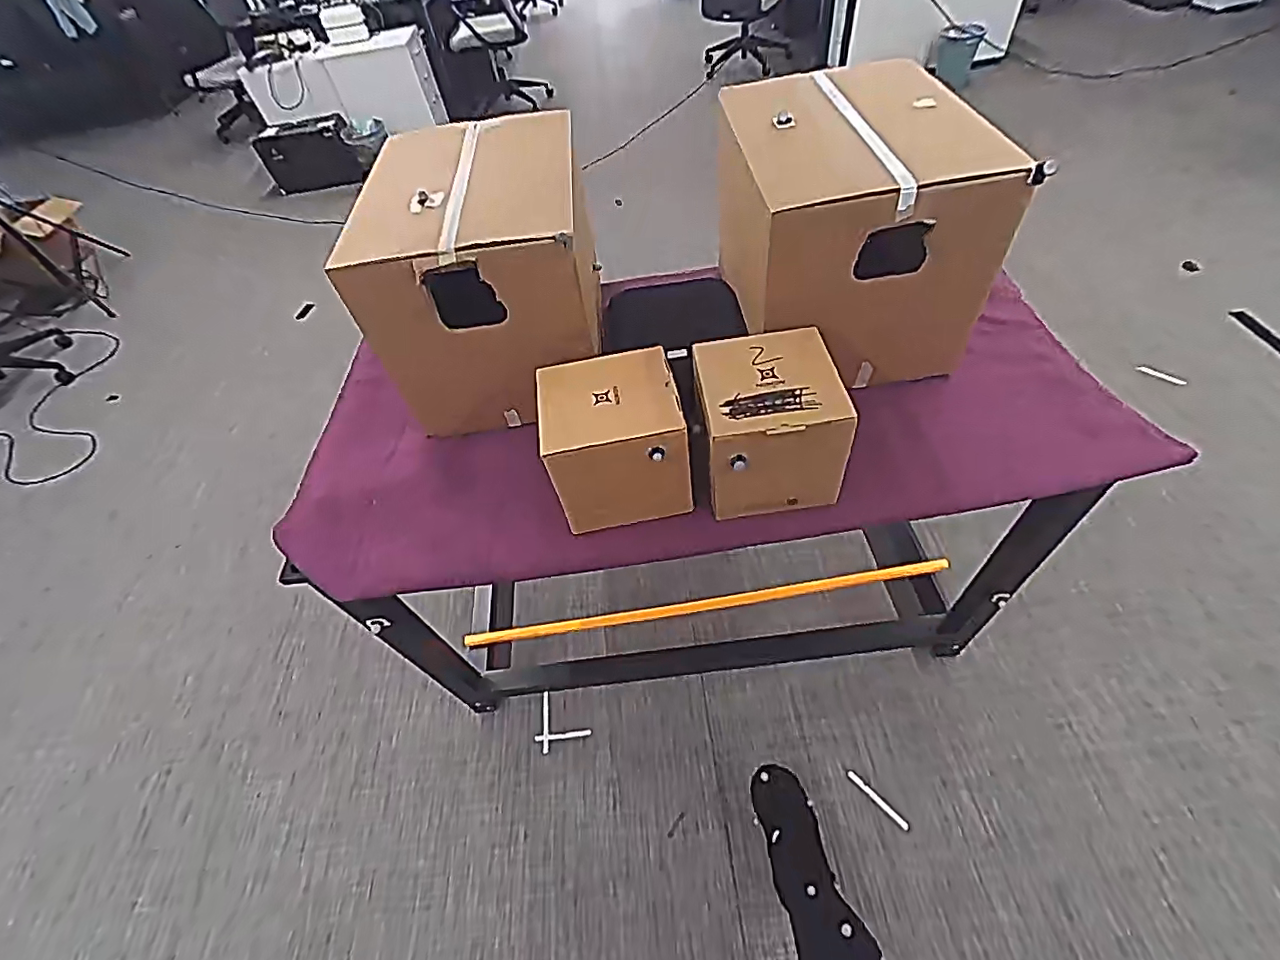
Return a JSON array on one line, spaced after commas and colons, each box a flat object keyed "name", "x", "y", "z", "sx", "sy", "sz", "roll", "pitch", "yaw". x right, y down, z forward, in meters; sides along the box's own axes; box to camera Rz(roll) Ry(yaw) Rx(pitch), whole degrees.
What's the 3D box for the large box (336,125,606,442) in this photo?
[{"name": "large box", "x": -0.239, "y": -0.326, "z": 0.906, "sx": 0.320, "sy": 0.320, "sz": 0.408, "roll": -8, "pitch": 54, "yaw": 2}]
